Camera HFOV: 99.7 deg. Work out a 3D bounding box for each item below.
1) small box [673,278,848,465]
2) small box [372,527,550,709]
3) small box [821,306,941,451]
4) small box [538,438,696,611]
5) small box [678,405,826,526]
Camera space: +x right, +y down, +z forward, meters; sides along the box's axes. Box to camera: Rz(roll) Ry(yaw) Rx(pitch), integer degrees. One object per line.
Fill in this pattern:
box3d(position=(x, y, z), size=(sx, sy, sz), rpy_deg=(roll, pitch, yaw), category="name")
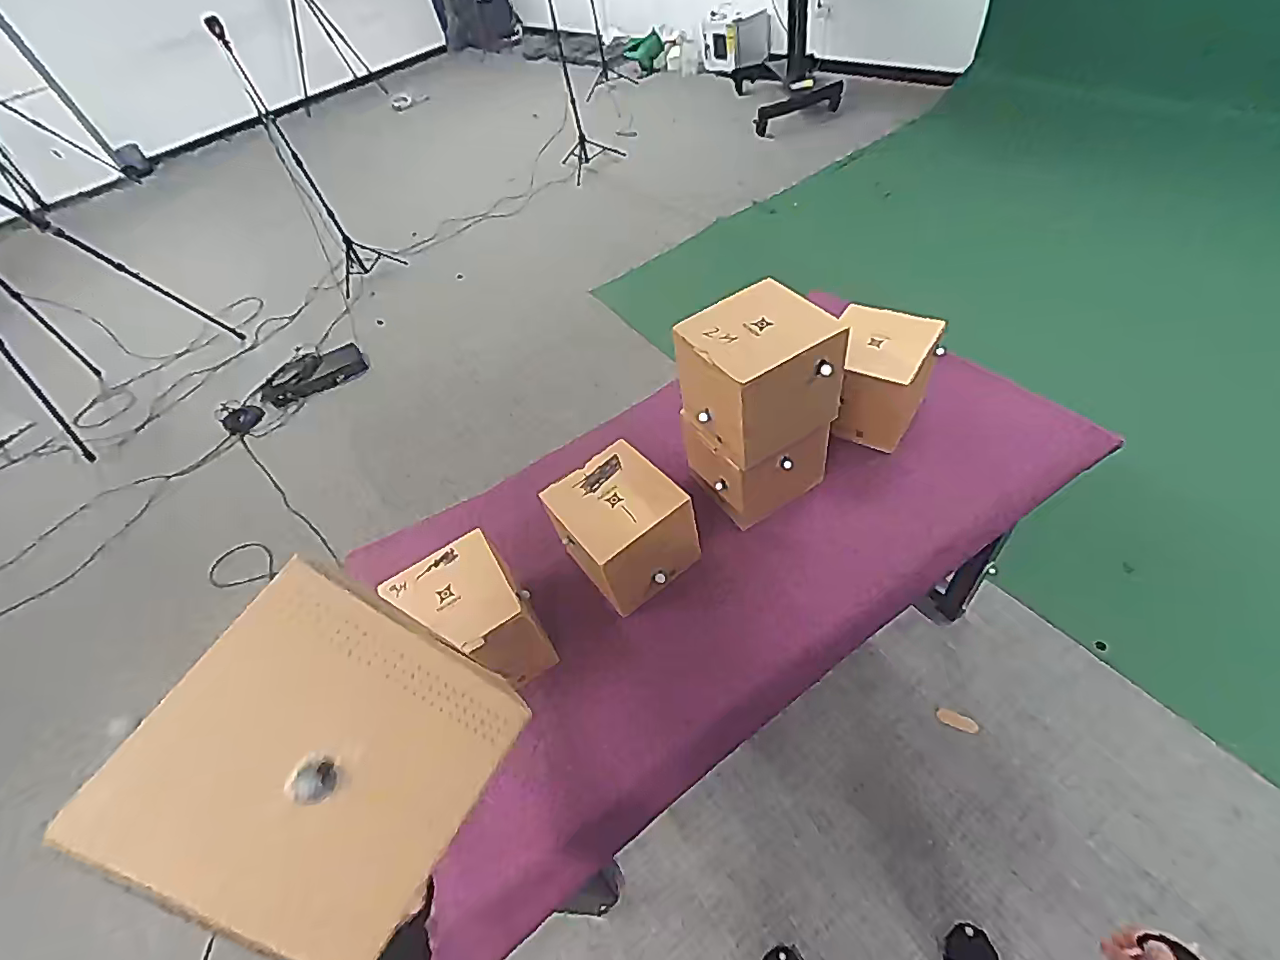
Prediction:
box3d(position=(0.168, -0.156, 0.784), size=(0.179, 0.176, 0.168), rpy_deg=(-29, 50, -11), category="small box")
box3d(position=(-0.254, 0.209, 0.791), size=(0.168, 0.176, 0.179), rpy_deg=(-31, 51, -13), category="small box")
box3d(position=(0.408, -0.179, 0.967), size=(0.168, 0.176, 0.179), rpy_deg=(24, 60, 30), category="small box")
box3d(position=(-0.031, 0.072, 0.855), size=(0.168, 0.176, 0.179), rpy_deg=(-35, 52, -16), category="small box")
box3d(position=(0.188, -0.054, 0.912), size=(0.179, 0.176, 0.168), rpy_deg=(-29, 51, -12), category="small box")
